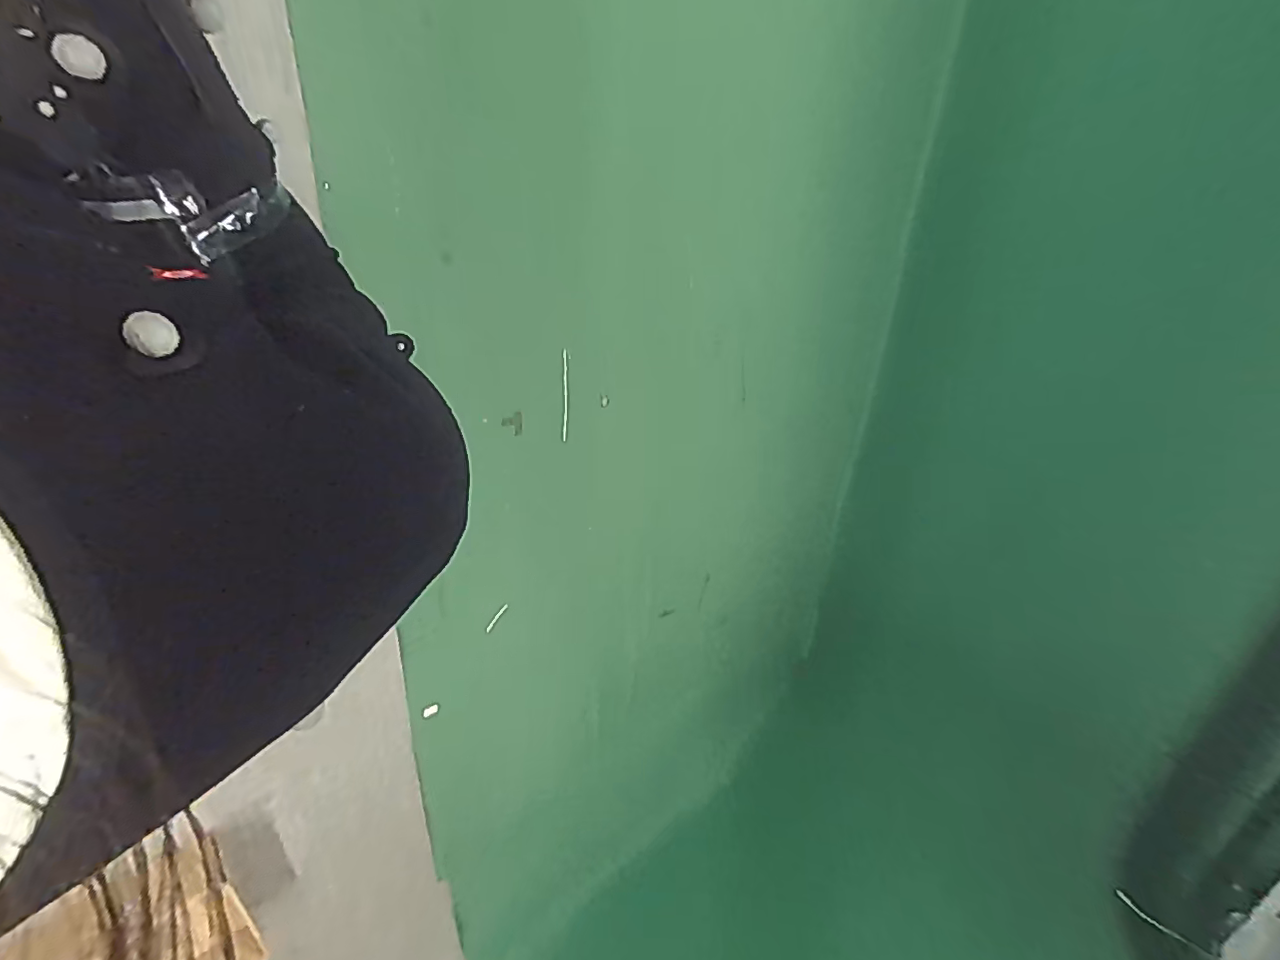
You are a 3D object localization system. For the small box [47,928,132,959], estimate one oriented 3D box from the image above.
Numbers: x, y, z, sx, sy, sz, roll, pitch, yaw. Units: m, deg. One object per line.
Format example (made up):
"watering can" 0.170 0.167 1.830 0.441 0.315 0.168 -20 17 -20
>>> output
"small box" -1.316 1.213 1.265 0.168 0.176 0.179 -20 124 -41
